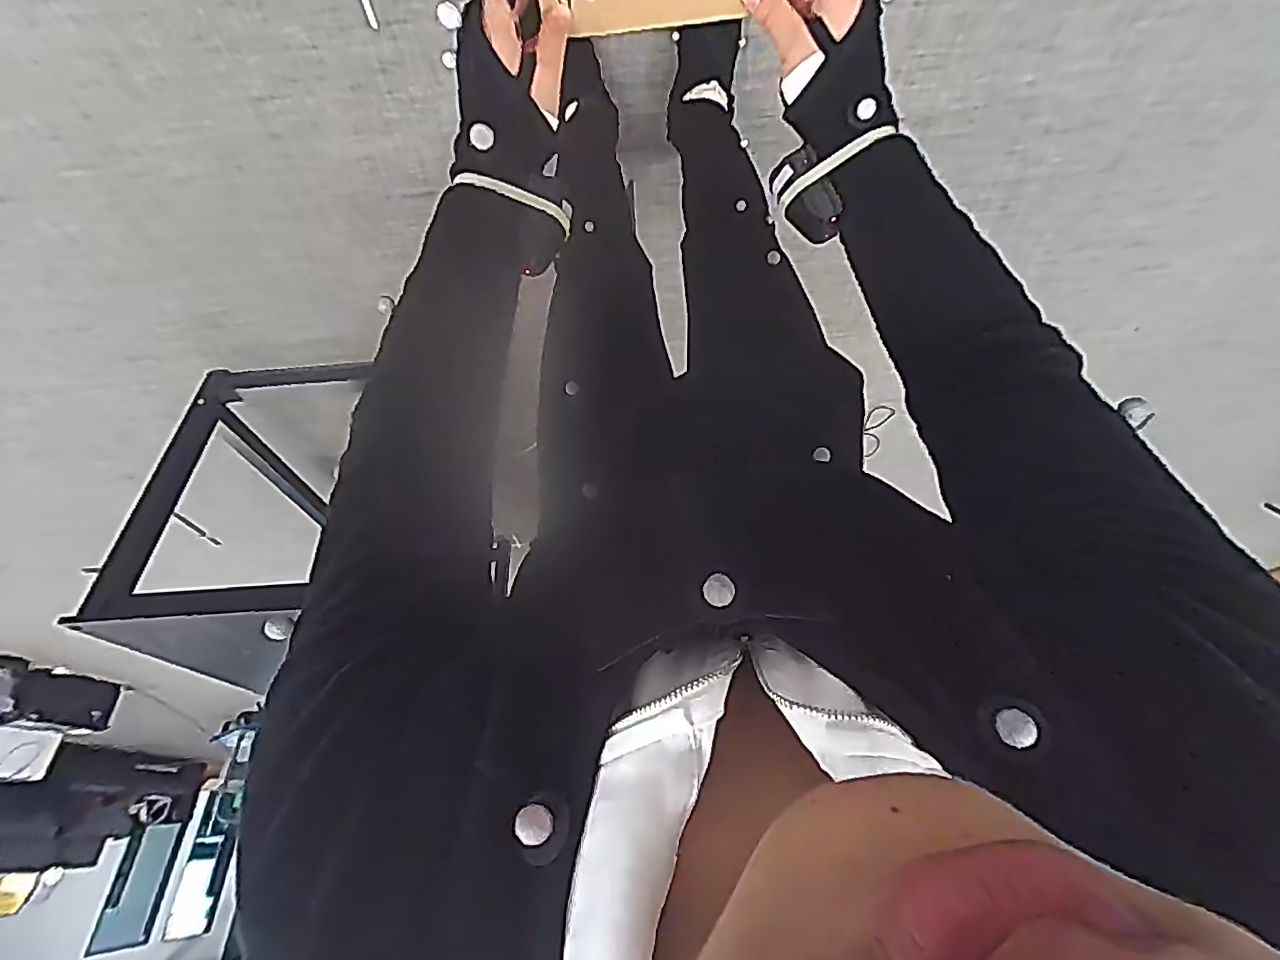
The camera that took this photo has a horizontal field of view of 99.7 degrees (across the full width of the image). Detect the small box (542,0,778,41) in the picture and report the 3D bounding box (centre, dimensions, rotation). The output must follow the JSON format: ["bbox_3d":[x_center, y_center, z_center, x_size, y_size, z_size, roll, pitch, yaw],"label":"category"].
[{"bbox_3d":[0.004,-0.450,0.380,0.179,0.176,0.168,-7,148,-1],"label":"small box"}]
